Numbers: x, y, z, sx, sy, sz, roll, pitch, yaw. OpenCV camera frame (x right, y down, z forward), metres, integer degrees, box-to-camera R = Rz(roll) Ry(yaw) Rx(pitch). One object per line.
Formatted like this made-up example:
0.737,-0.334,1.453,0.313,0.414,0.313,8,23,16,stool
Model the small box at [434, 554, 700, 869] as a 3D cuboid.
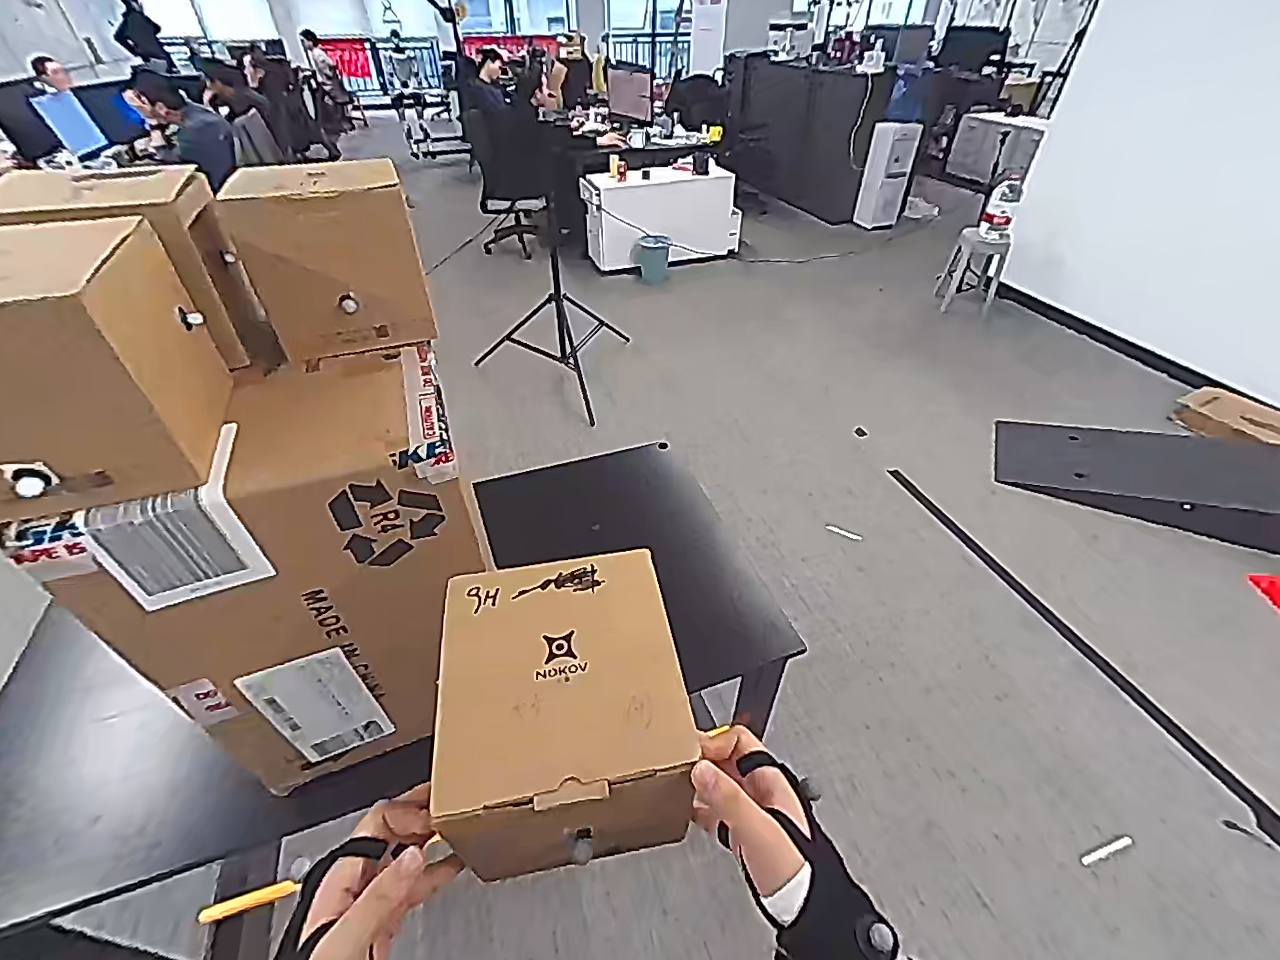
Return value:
-0.054,0.188,0.436,0.168,0.176,0.179,-7,44,-8,small box
